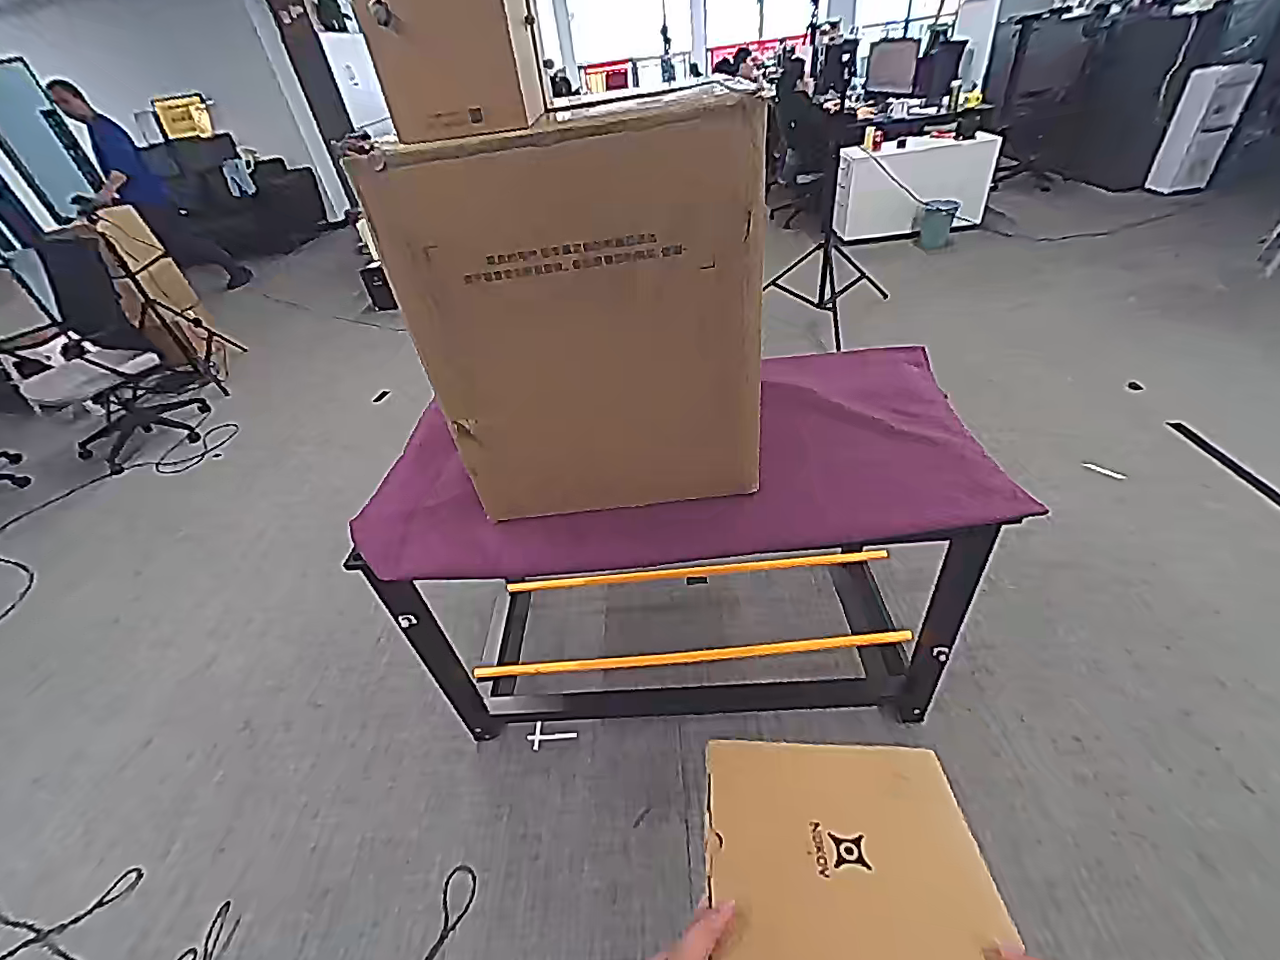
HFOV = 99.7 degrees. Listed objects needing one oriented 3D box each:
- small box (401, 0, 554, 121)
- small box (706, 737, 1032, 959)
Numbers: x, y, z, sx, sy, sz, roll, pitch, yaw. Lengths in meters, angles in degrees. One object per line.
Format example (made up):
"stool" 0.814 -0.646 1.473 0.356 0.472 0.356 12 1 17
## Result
"small box" -0.236 -0.656 0.816 0.179 0.176 0.168 -7 39 0
"small box" 0.136 0.312 0.380 0.179 0.176 0.168 -1 23 7
